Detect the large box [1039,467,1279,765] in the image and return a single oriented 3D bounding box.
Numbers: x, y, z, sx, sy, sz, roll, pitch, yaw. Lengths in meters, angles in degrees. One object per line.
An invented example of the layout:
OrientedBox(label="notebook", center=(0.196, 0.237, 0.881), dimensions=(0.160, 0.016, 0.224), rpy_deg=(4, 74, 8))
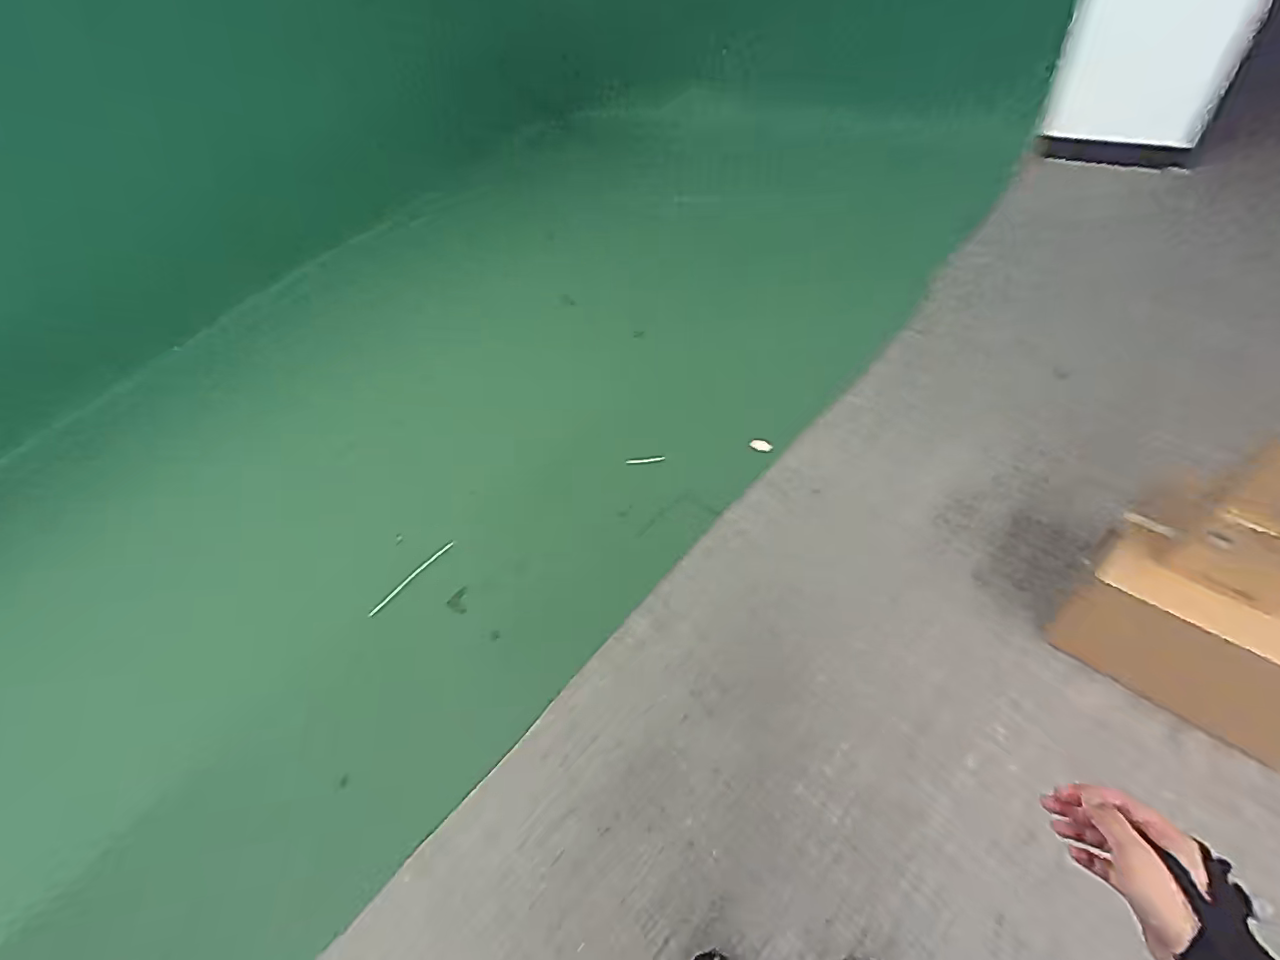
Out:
OrientedBox(label="large box", center=(1.081, 0.247, 1.018), dimensions=(0.408, 0.320, 0.320), rpy_deg=(32, 69, 32))
